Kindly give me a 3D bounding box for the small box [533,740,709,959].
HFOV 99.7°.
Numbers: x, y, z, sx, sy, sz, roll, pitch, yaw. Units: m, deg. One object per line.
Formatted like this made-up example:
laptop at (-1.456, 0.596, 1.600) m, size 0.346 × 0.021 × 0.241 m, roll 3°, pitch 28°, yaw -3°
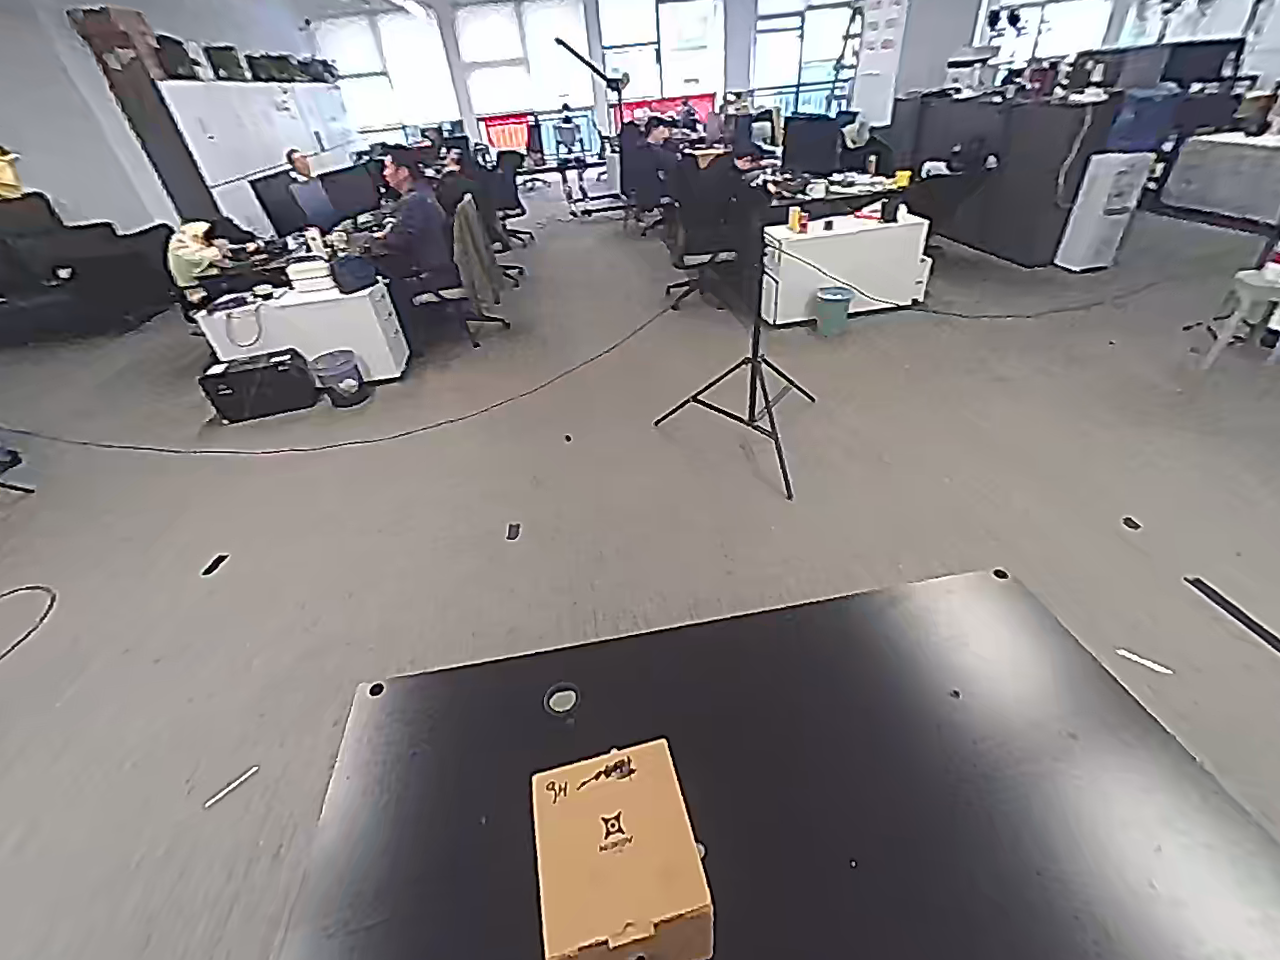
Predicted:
small box at (-0.022, 0.446, 0.630) m, size 0.168 × 0.176 × 0.179 m, roll -12°, pitch 37°, yaw -8°
